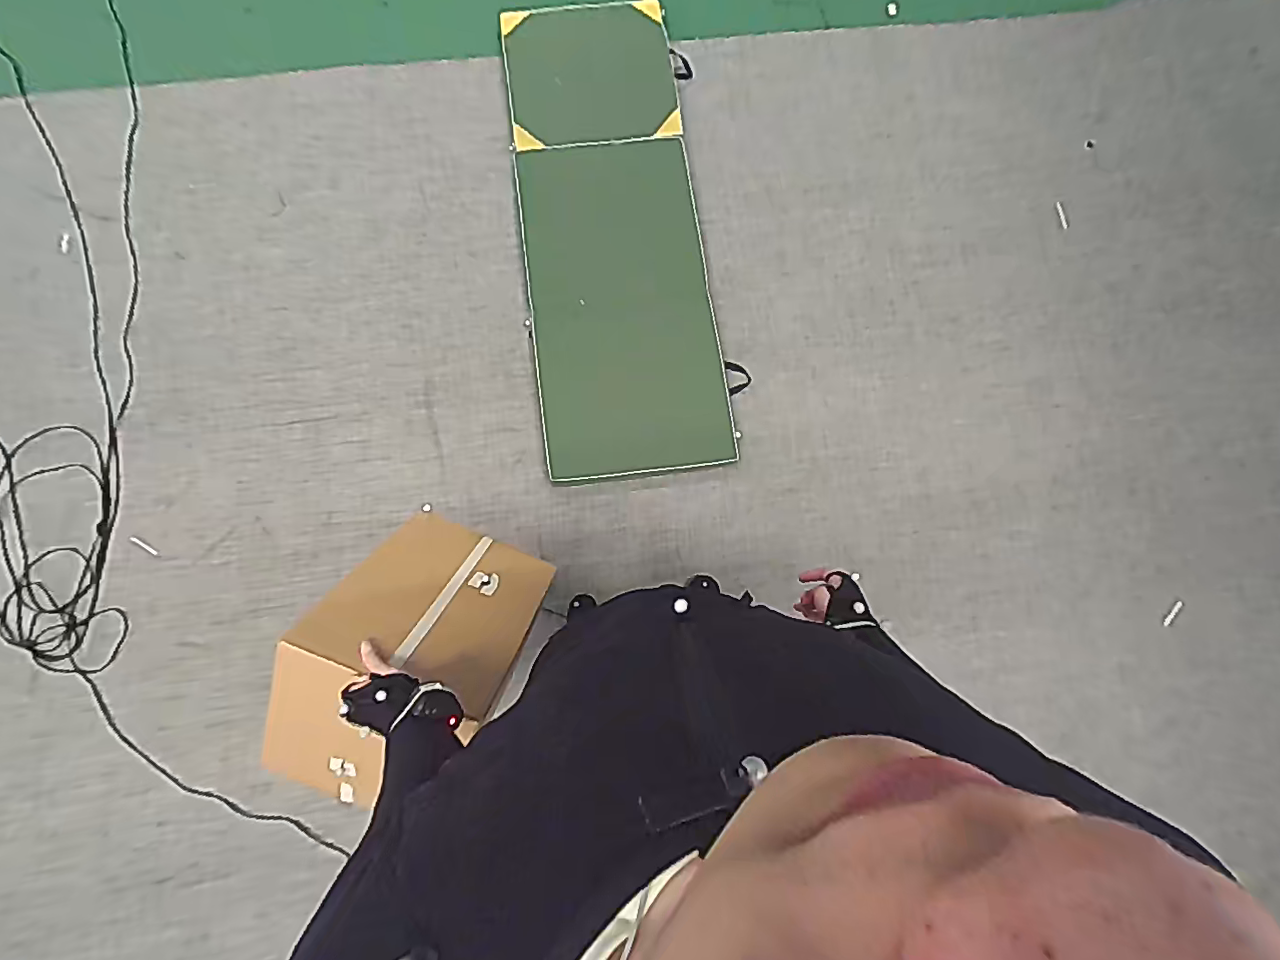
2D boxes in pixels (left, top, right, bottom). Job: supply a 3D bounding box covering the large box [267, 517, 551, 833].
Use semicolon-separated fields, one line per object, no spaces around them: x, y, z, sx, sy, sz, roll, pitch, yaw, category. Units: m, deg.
-0.402;0.338;1.009;0.320;0.408;0.320;24;114;-3;large box
